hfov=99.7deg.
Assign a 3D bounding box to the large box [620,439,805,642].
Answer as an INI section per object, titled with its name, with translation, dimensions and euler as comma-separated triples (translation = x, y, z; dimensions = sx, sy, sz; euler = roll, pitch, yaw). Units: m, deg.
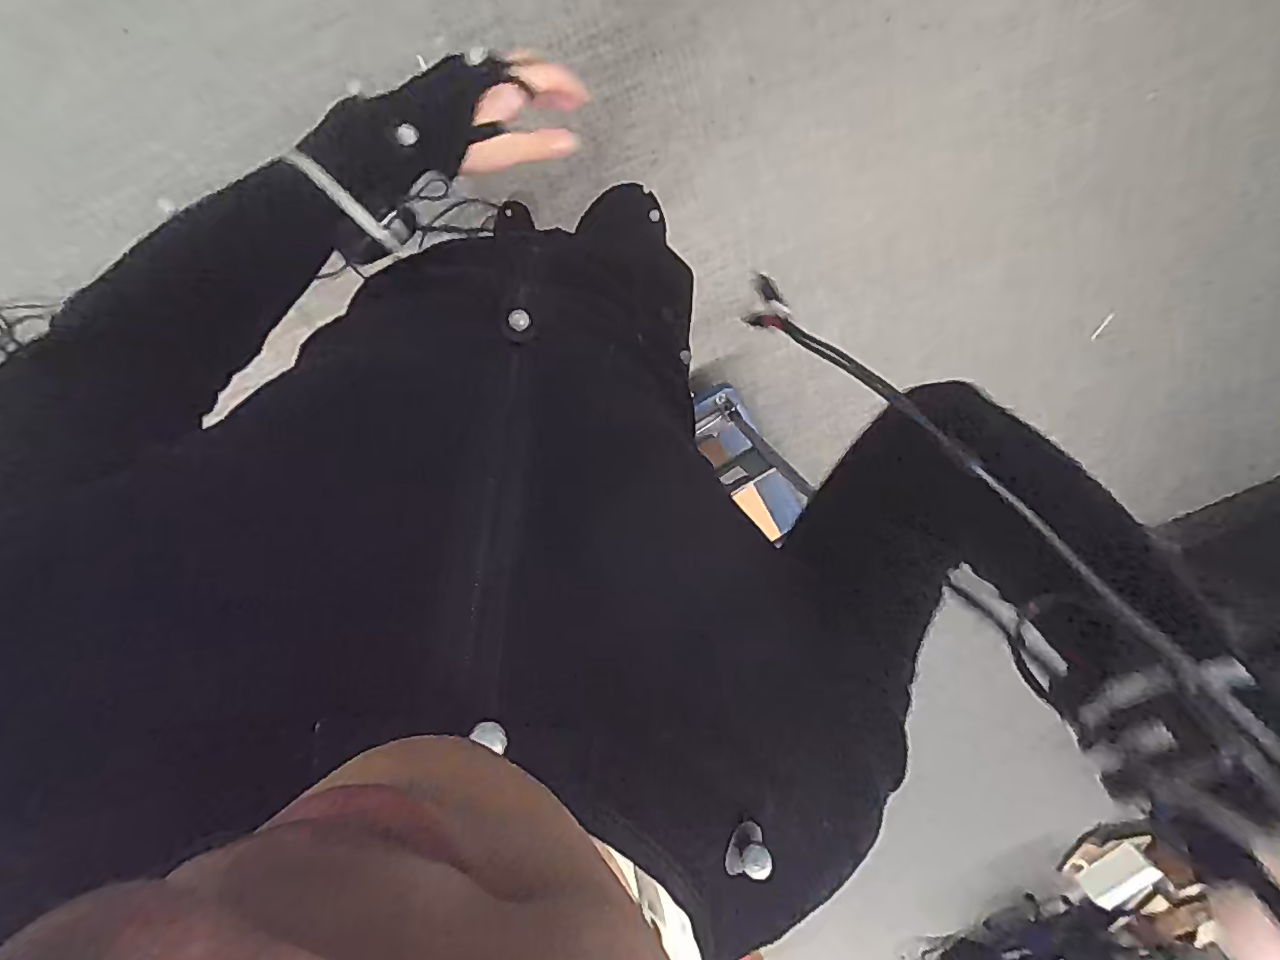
[large box]
translation = 0.193, 0.163, 1.518
dimensions = 0.320, 0.320, 0.408
euler = -31, 118, 5
